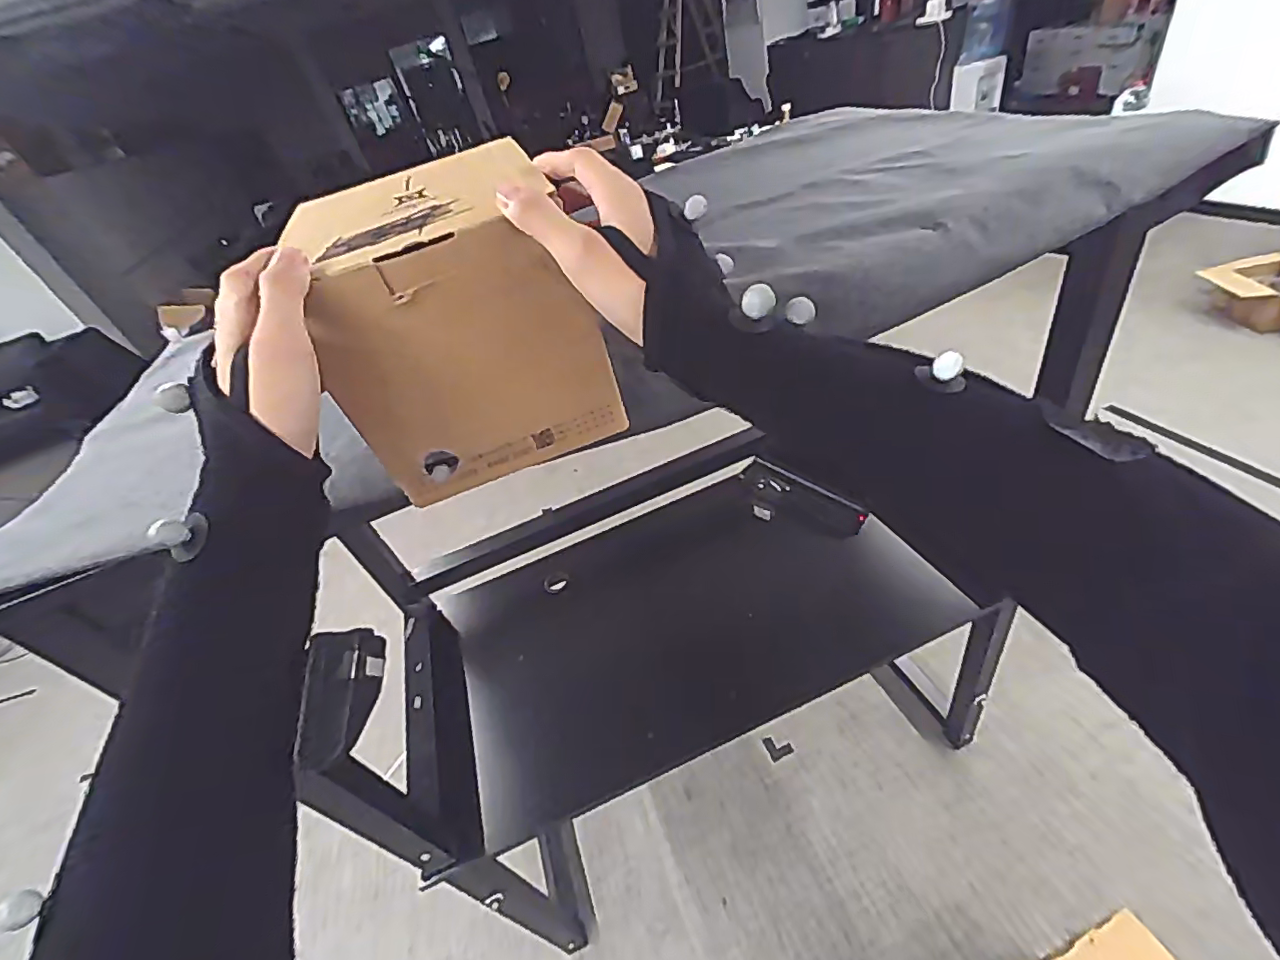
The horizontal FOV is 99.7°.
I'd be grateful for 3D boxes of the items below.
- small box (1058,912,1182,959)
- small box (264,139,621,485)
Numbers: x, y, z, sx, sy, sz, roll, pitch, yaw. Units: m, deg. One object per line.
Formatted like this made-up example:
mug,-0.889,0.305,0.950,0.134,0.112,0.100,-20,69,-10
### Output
small box,0.732,0.792,0.797,0.168,0.176,0.179,-26,40,-9
small box,-0.126,-0.117,0.397,0.168,0.176,0.179,-22,43,-5
